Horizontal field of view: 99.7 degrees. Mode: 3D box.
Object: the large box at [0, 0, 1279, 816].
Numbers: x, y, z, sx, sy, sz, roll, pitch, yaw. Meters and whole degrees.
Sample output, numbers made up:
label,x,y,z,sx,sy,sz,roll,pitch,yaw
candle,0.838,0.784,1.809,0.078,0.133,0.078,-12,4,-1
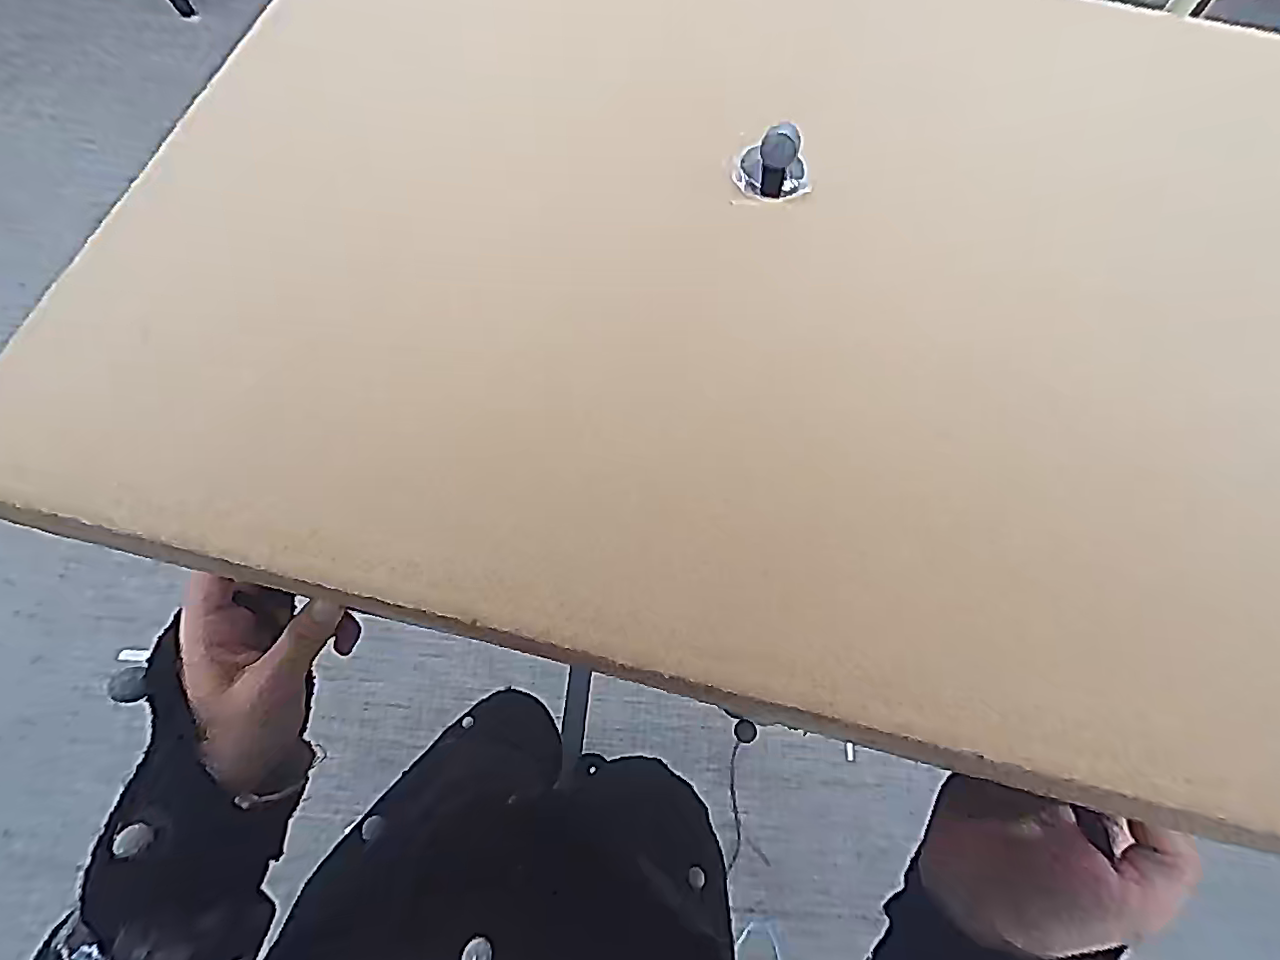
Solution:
label,x,y,z,sx,sy,sz,roll,pitch,yaw
large box,0.025,-0.050,0.323,0.408,0.320,0.320,12,72,4
